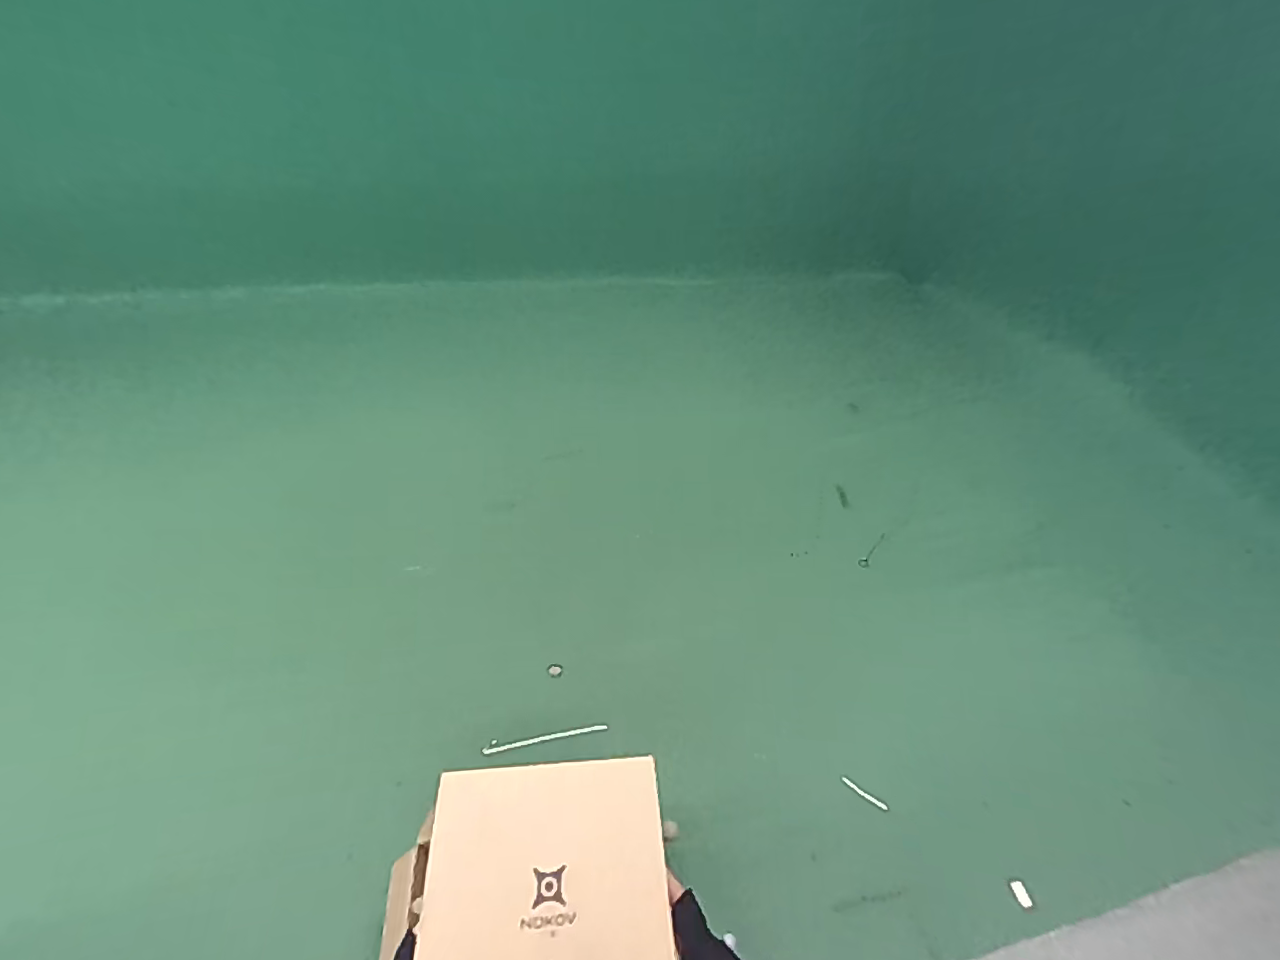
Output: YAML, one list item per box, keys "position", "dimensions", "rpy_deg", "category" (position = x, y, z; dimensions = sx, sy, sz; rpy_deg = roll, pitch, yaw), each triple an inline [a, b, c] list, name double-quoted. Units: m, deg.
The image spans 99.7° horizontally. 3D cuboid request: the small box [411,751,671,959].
- position: [-0.070, 0.336, 0.420]
  dimensions: [0.168, 0.176, 0.179]
  rpy_deg: [-1, 45, -6]
  category: "small box"
